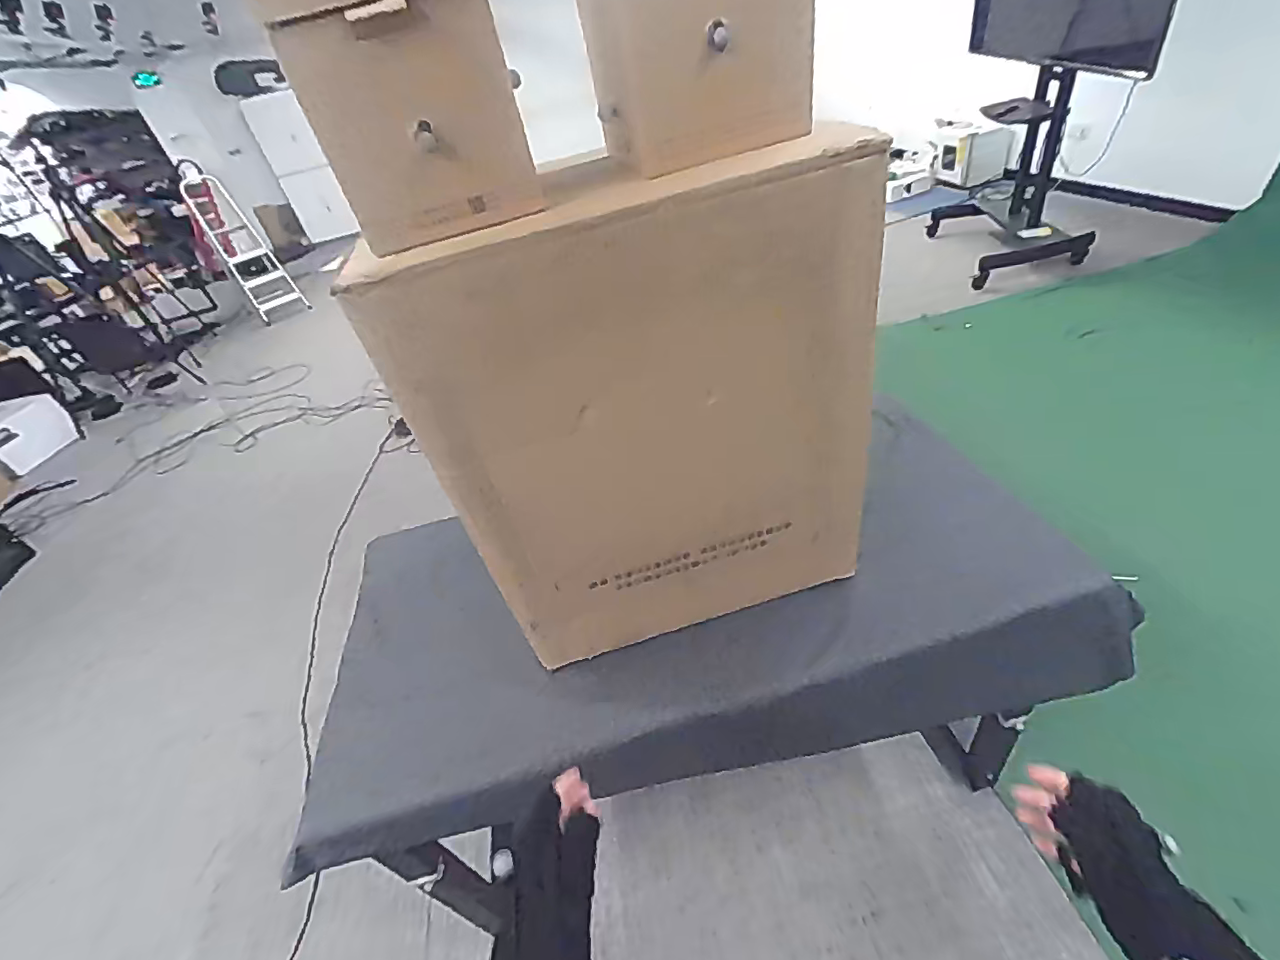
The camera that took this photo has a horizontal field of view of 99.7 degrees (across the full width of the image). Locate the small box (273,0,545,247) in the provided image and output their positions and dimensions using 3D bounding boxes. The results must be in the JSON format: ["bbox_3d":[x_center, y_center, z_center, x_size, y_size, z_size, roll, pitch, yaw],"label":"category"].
[{"bbox_3d":[-0.197,-0.339,0.512,0.168,0.176,0.179,-18,41,-5],"label":"small box"}]

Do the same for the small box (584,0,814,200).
[{"bbox_3d":[0.057,-0.407,0.547,0.179,0.176,0.168,-19,40,-6],"label":"small box"}]

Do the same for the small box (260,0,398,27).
[{"bbox_3d":[-0.222,-0.455,0.402,0.168,0.176,0.179,-16,40,-5],"label":"small box"}]
